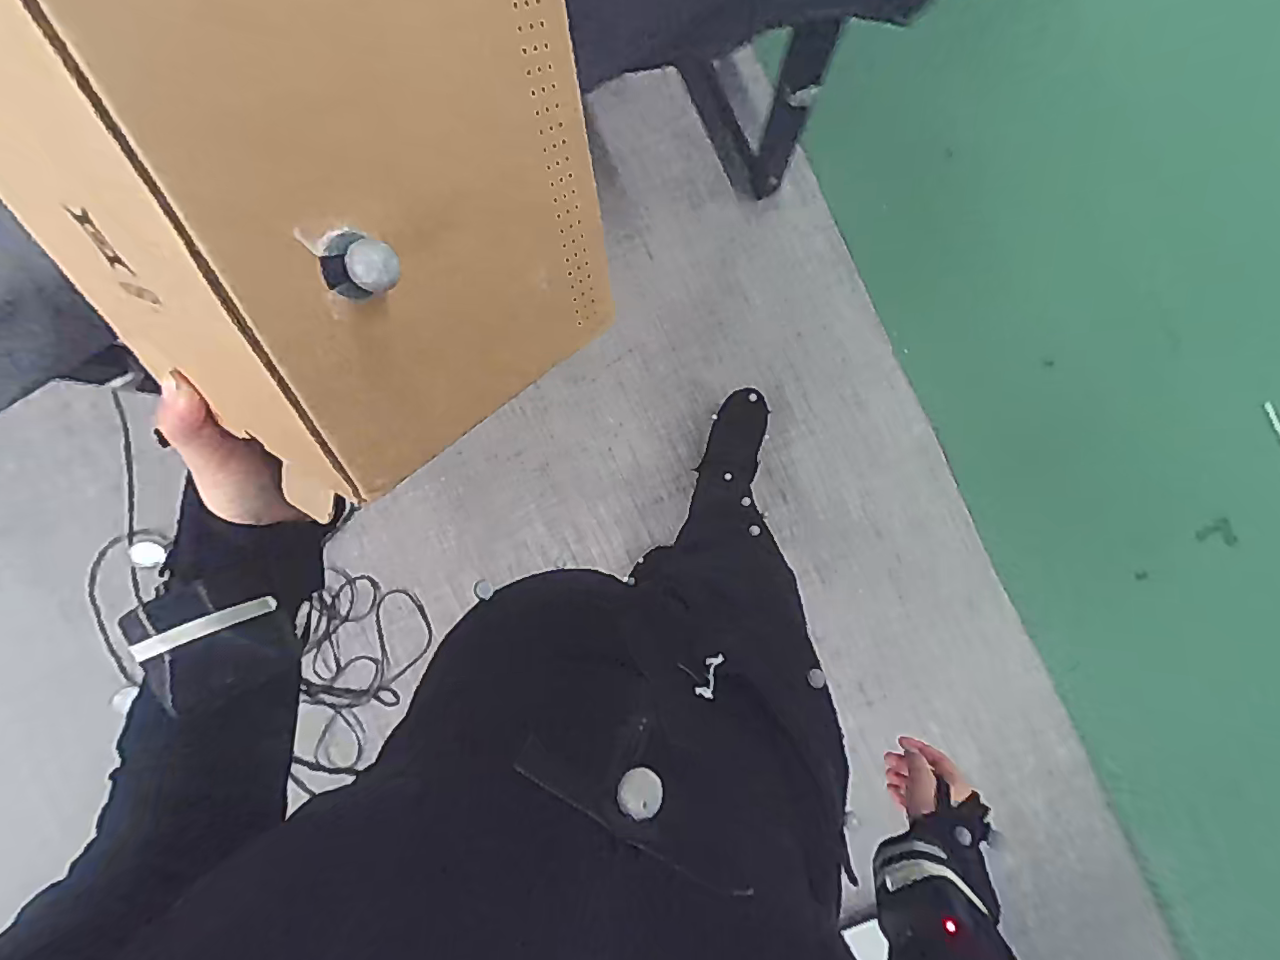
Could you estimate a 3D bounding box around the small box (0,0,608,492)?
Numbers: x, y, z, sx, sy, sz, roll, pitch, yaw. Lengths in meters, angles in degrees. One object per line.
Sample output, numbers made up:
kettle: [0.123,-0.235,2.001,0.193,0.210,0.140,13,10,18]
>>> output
small box: [-0.134,-0.130,0.232,0.168,0.179,0.176,18,49,28]
